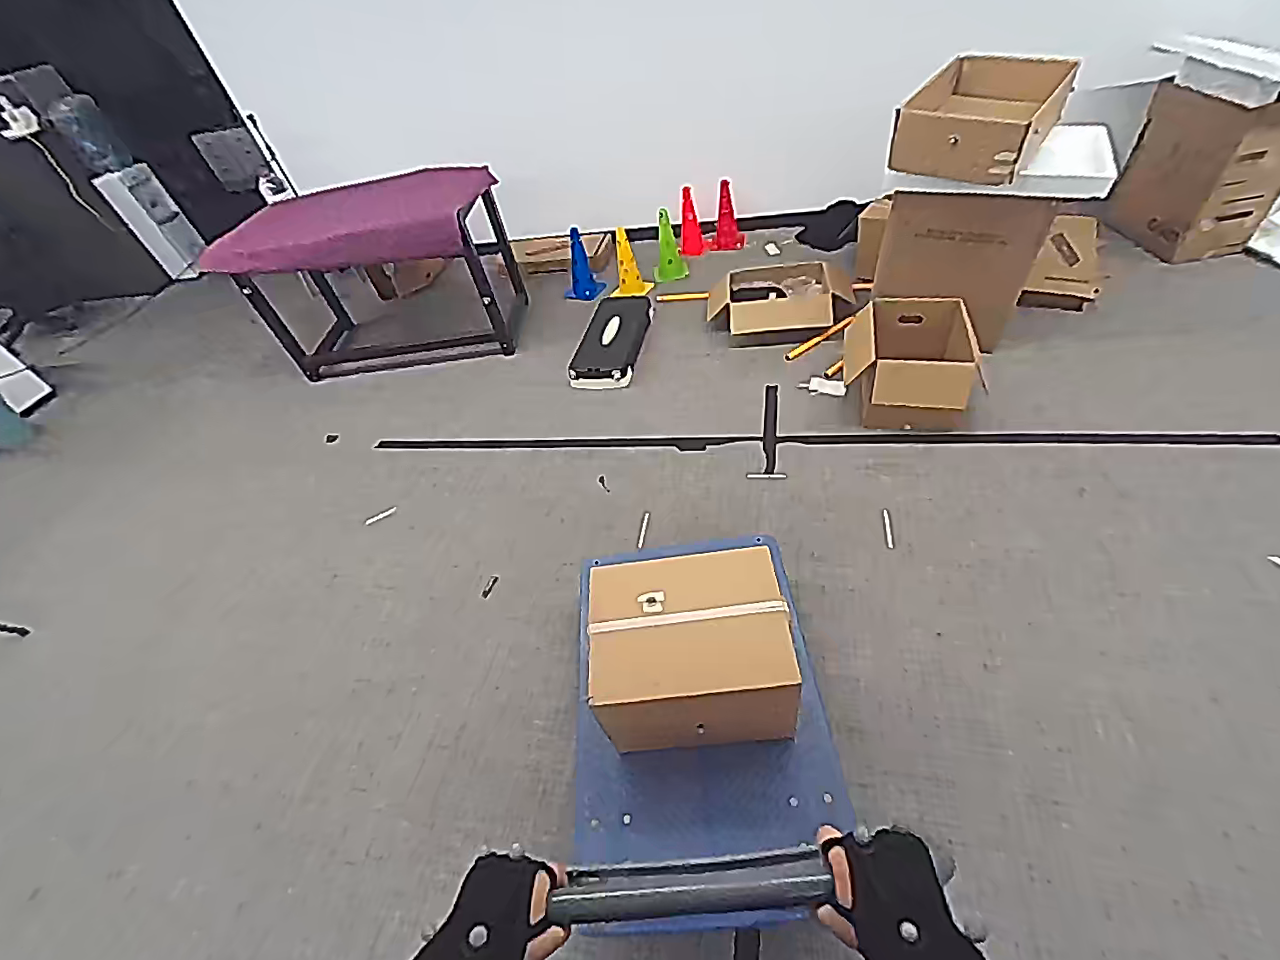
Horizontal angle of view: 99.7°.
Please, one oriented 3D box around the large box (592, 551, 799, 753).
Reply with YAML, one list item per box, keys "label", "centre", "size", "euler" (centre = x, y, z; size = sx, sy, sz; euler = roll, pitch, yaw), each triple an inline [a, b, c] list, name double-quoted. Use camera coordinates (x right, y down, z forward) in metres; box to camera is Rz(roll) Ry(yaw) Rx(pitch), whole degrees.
- label: "large box"
  centre: [0.121, 0.399, 1.235]
  size: [0.408, 0.320, 0.320]
  euler: [-9, 46, 5]
